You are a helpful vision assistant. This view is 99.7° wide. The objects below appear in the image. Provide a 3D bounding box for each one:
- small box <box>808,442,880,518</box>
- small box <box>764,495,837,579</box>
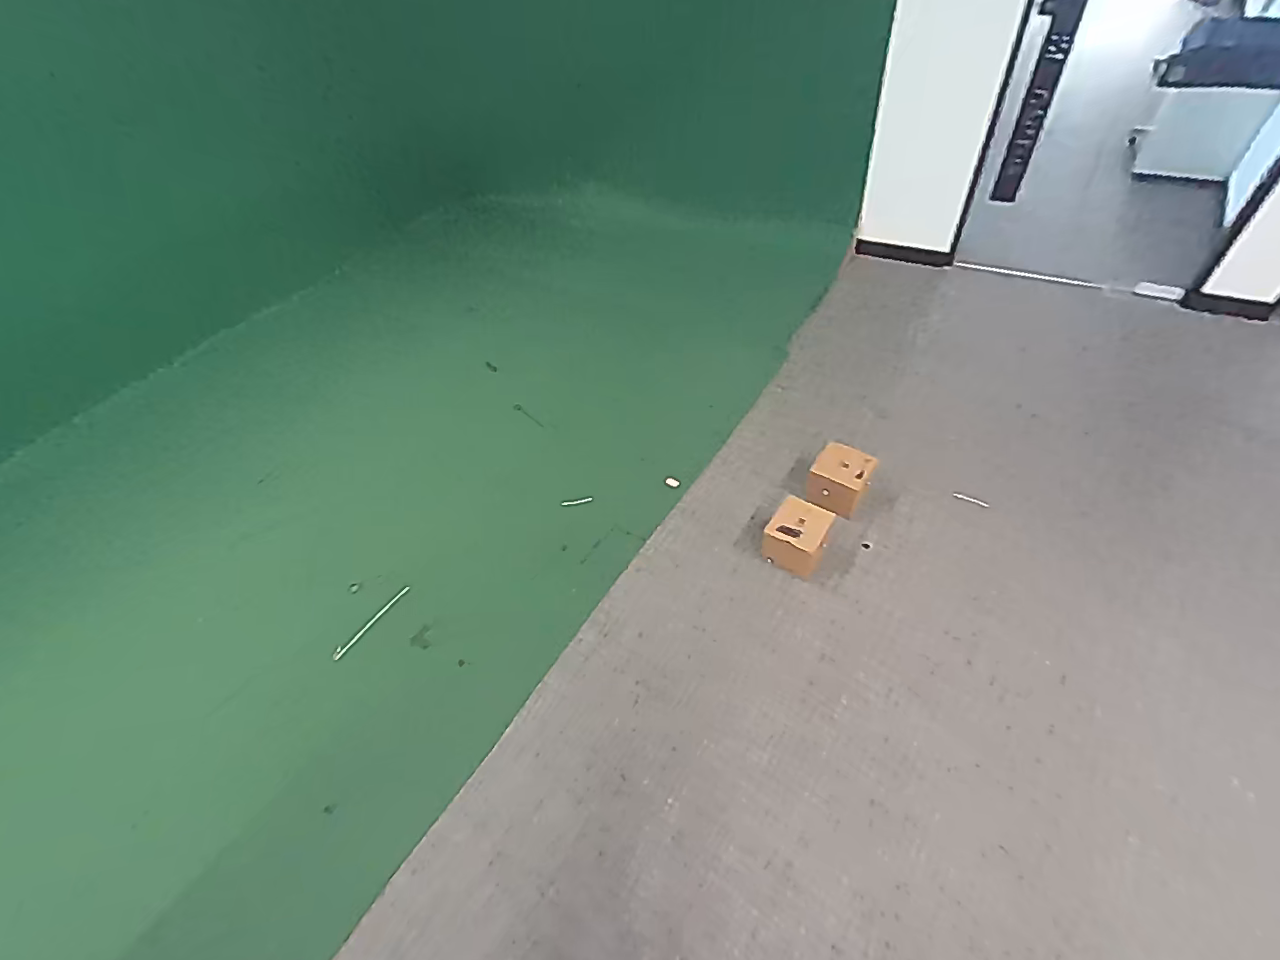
[{"bbox_3d":[0.696,0.002,1.864,0.179,0.176,0.168,26,59,29],"label":"small box"},{"bbox_3d":[0.512,0.188,1.740,0.168,0.176,0.179,25,58,28],"label":"small box"}]
